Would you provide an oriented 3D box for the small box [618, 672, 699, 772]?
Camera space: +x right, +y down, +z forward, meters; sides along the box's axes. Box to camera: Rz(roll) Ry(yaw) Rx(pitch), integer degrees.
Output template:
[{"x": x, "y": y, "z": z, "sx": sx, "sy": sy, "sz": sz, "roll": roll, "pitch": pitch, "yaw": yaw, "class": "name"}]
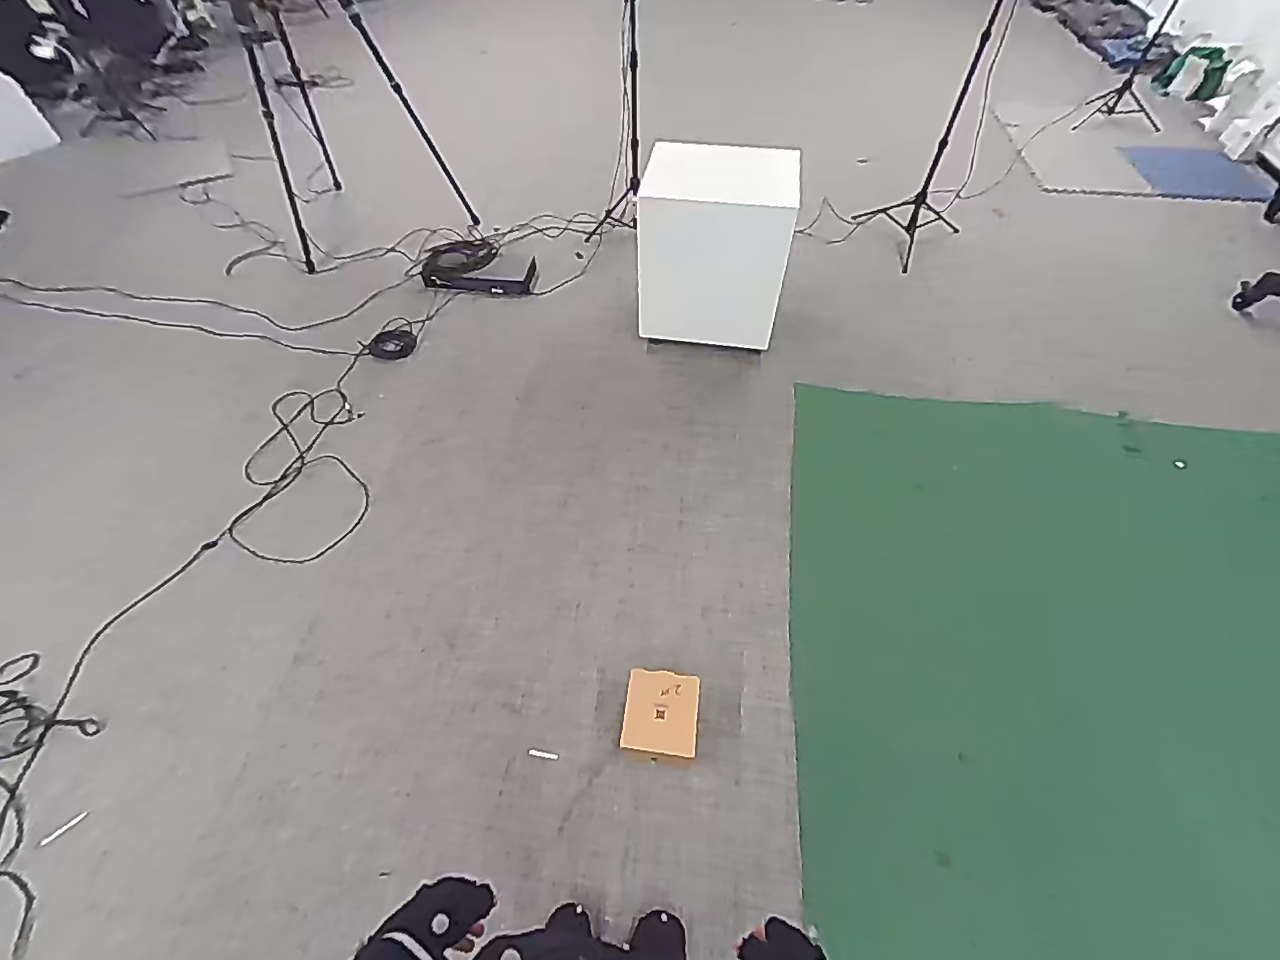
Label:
[{"x": 0.045, "y": 0.577, "z": 1.279, "sx": 0.168, "sy": 0.176, "sz": 0.179, "roll": 7, "pitch": 54, "yaw": 5, "class": "small box"}]
